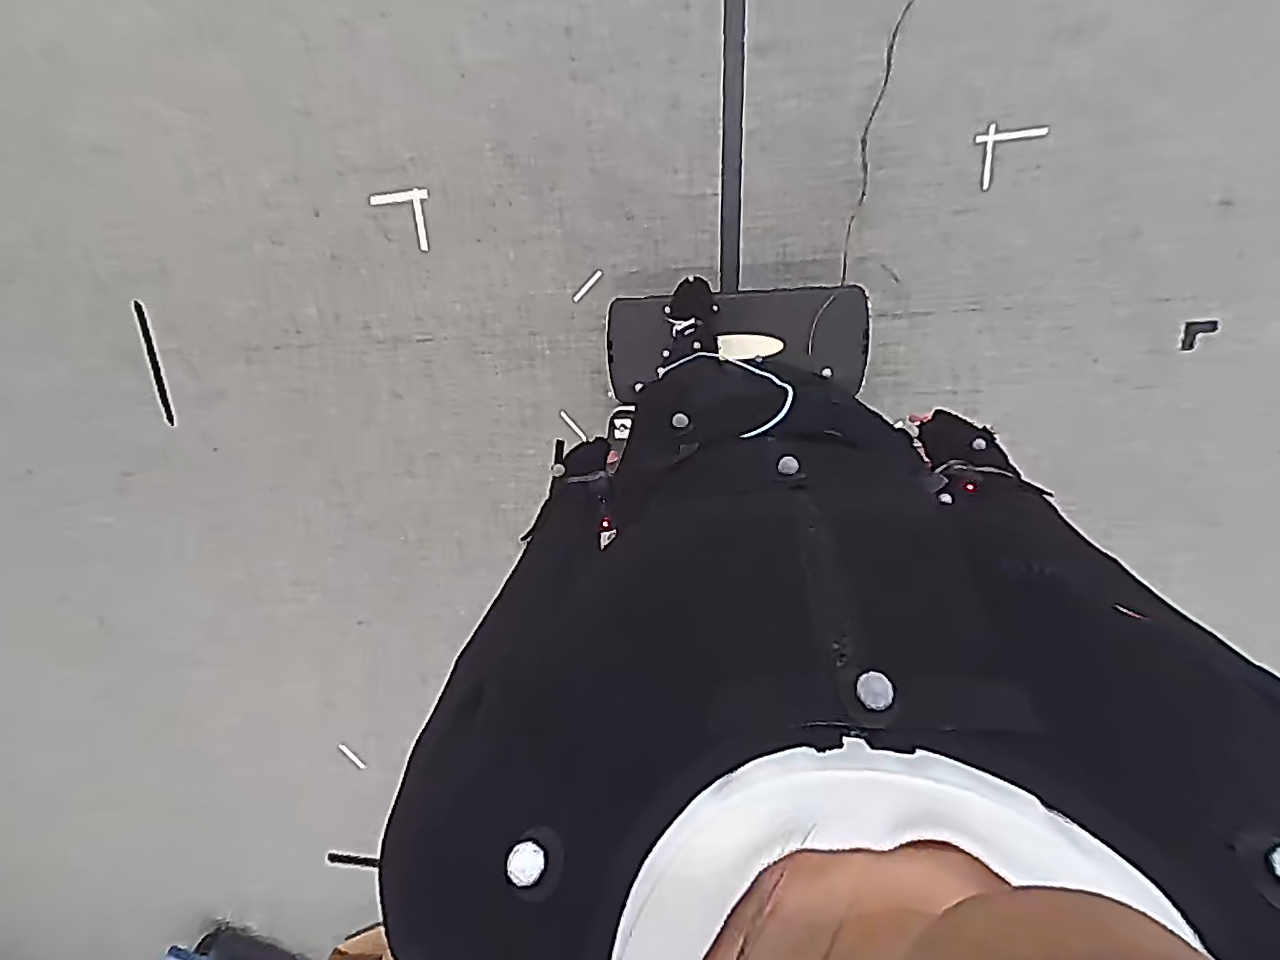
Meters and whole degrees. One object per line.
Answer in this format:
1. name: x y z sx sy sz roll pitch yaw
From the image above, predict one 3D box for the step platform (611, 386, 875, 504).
1. step platform: 0.262 -0.090 1.455 0.684 0.204 0.286 -1 104 10
